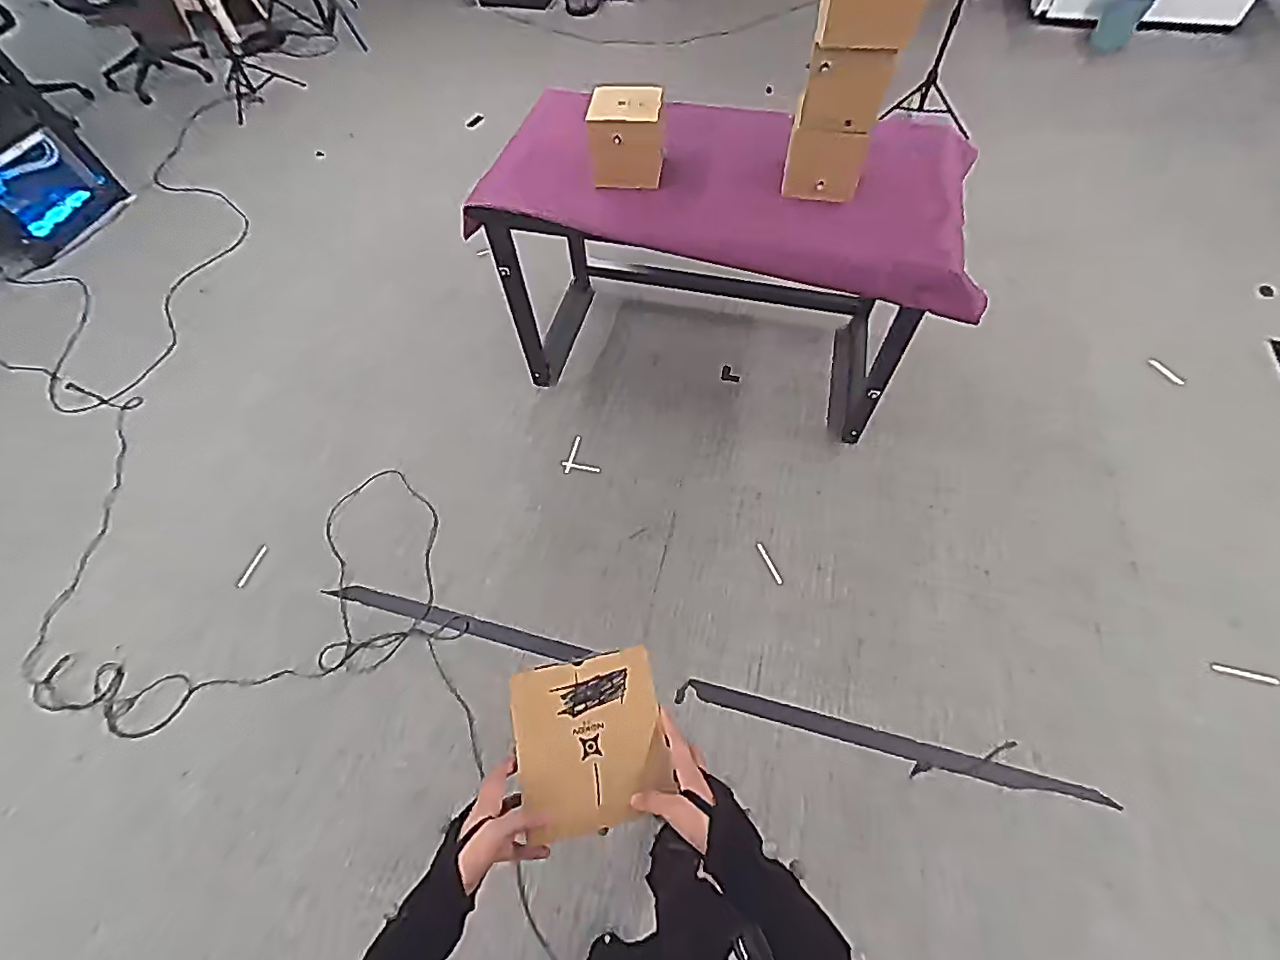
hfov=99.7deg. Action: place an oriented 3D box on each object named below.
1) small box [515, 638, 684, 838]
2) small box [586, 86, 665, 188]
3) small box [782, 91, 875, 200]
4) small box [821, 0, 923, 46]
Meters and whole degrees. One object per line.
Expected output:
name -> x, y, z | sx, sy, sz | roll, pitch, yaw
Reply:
small box -> -0.053, 0.312, 0.664 | 0.168, 0.176, 0.179 | -10, 64, -8
small box -> -0.031, -0.873, 1.383 | 0.179, 0.176, 0.168 | 5, 60, 5
small box -> 0.459, -0.815, 1.326 | 0.179, 0.176, 0.168 | 9, 60, 8
small box -> 0.451, -0.962, 1.033 | 0.179, 0.176, 0.168 | 6, 60, 6
